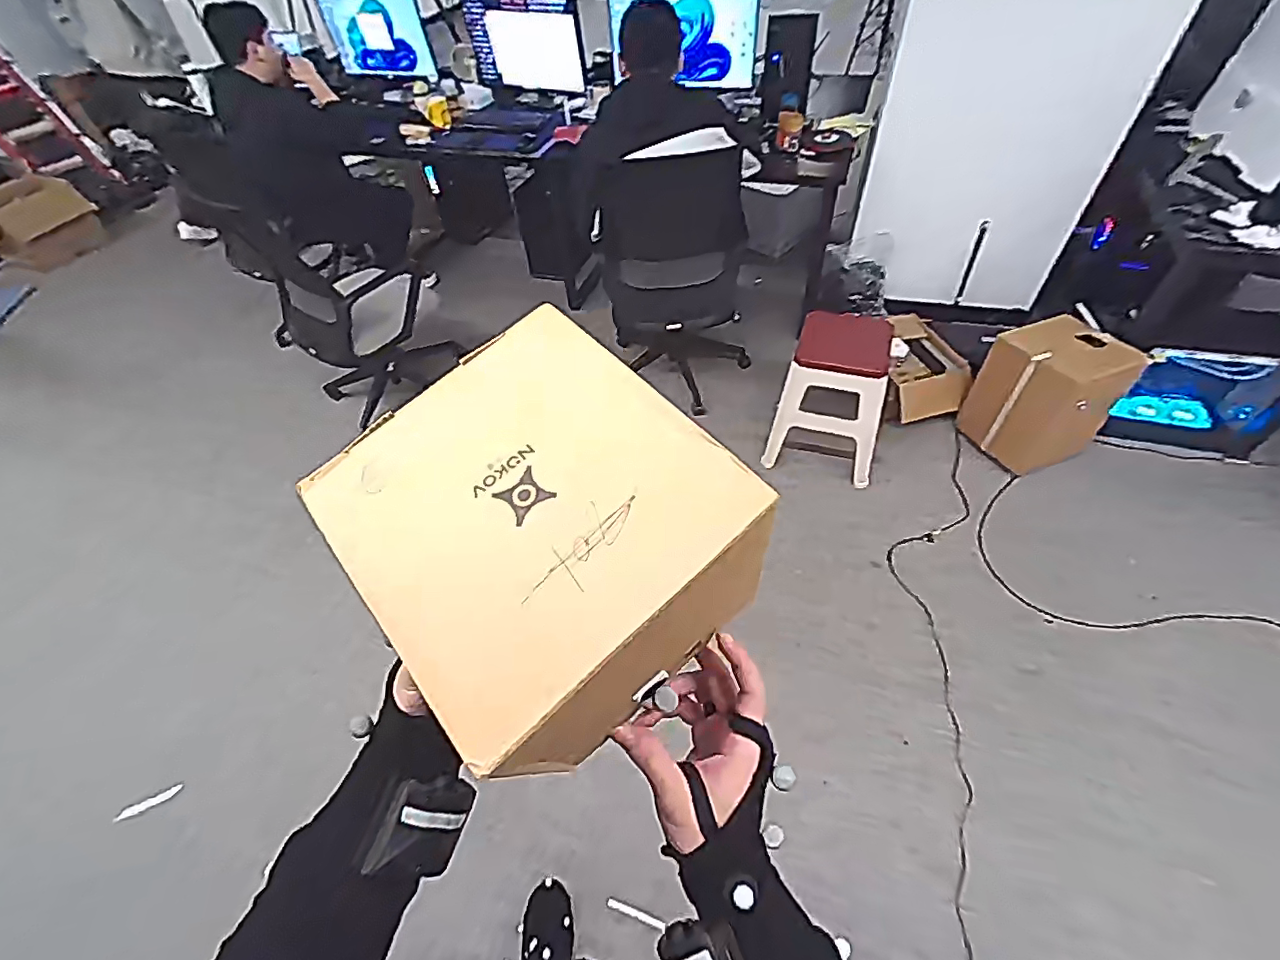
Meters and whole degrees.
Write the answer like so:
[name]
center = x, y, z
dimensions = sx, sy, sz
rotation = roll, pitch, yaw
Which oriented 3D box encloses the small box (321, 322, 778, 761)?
[small box]
center = -0.042, 0.046, 0.336
dimensions = 0.168, 0.176, 0.179
rotation = -42, 66, -13
